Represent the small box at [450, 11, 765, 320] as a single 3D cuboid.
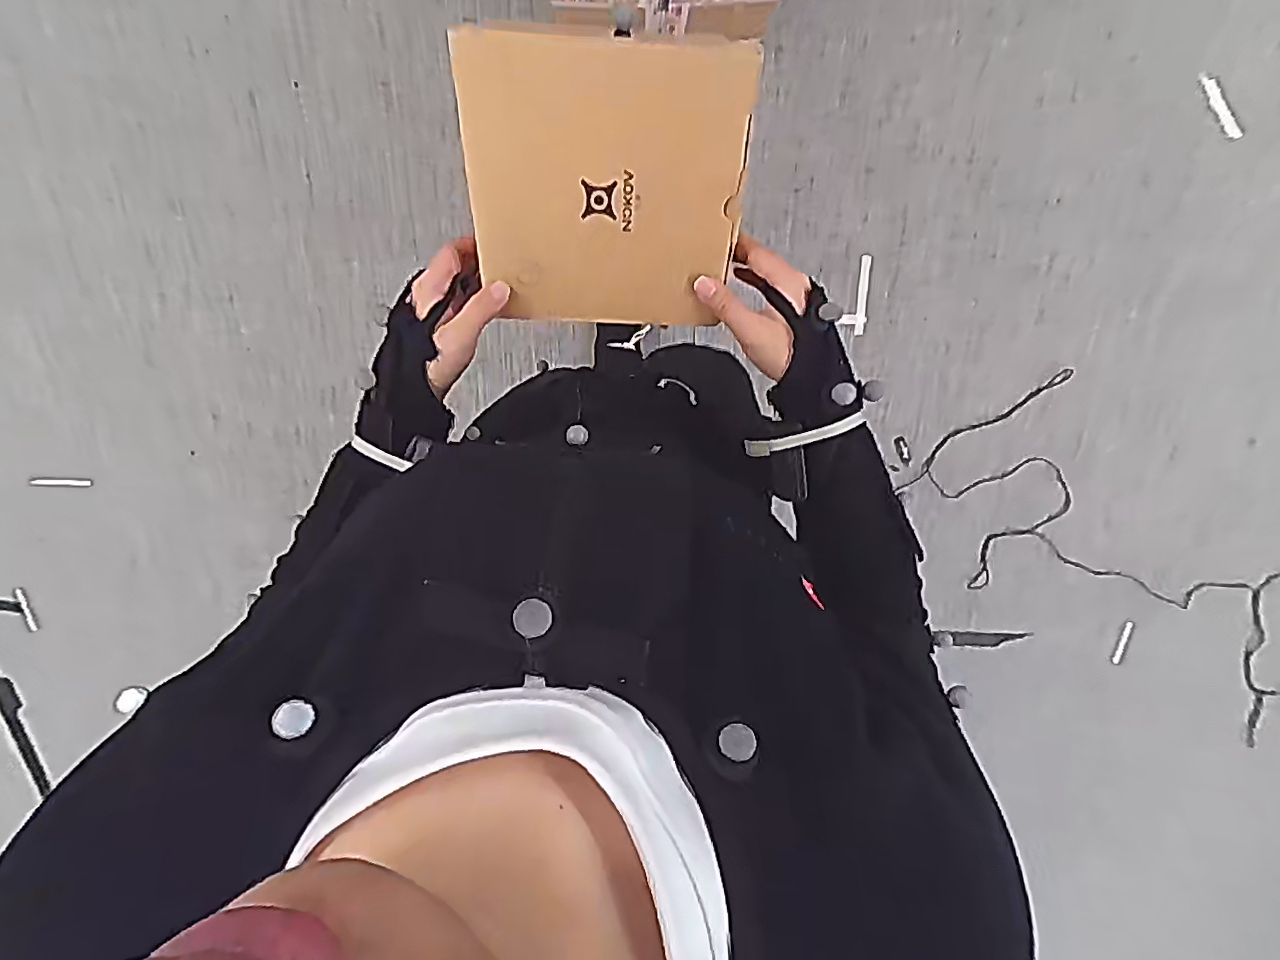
[{"bbox_3d":[-0.024,-0.236,0.406,0.179,0.176,0.168,1,130,-4],"label":"small box"}]
